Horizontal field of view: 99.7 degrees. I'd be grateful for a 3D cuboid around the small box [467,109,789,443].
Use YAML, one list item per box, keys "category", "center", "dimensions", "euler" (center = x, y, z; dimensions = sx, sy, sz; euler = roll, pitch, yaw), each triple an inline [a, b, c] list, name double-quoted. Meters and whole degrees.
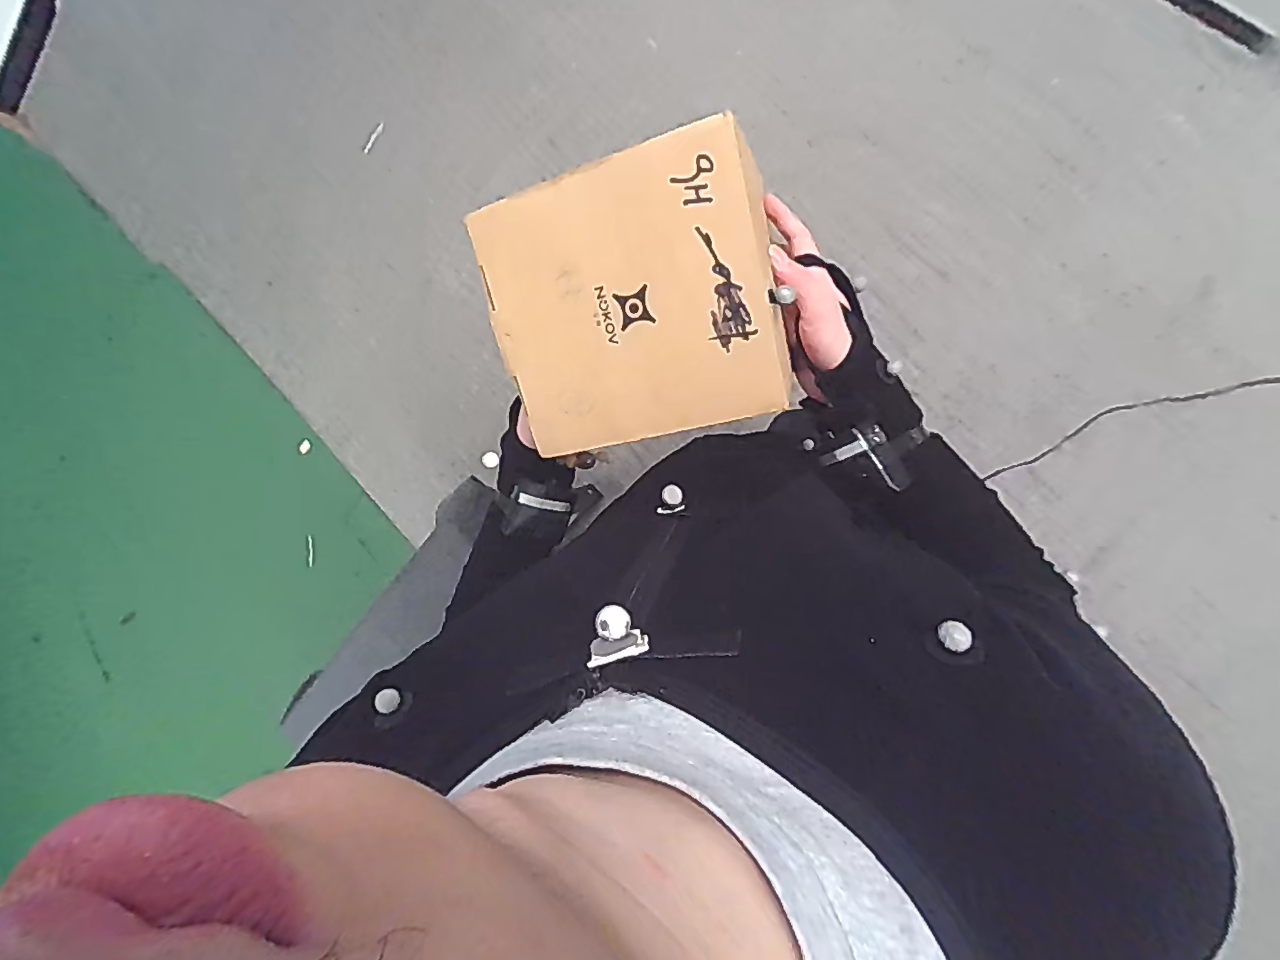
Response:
- category: "small box"
  center: [0.009, -0.137, 0.408]
  dimensions: [0.179, 0.176, 0.168]
  euler: [-8, 107, 20]
